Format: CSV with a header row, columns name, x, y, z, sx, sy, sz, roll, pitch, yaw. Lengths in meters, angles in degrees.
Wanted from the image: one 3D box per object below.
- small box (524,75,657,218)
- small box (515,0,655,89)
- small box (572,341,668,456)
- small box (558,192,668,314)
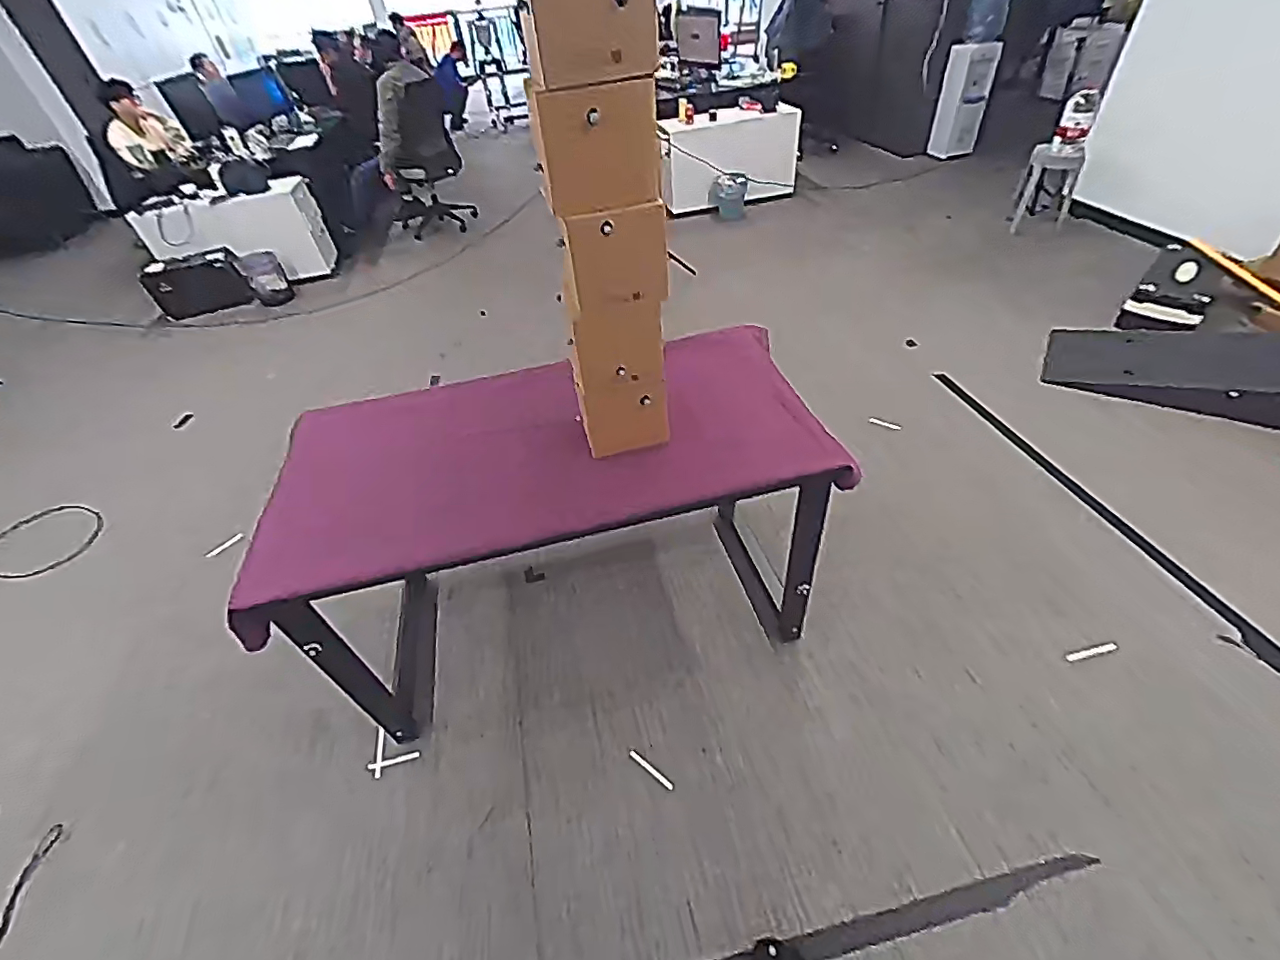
name,x,y,z,sx,sy,sz,roll,pitch,yaw
small box,-0.075,-0.542,0.865,0.179,0.176,0.168,-14,44,-7
small box,-0.082,-0.663,0.757,0.168,0.176,0.179,-14,43,-9
small box,-0.041,-0.179,1.192,0.179,0.176,0.168,-14,43,-6
small box,-0.051,-0.419,0.970,0.168,0.176,0.179,-14,44,-7
